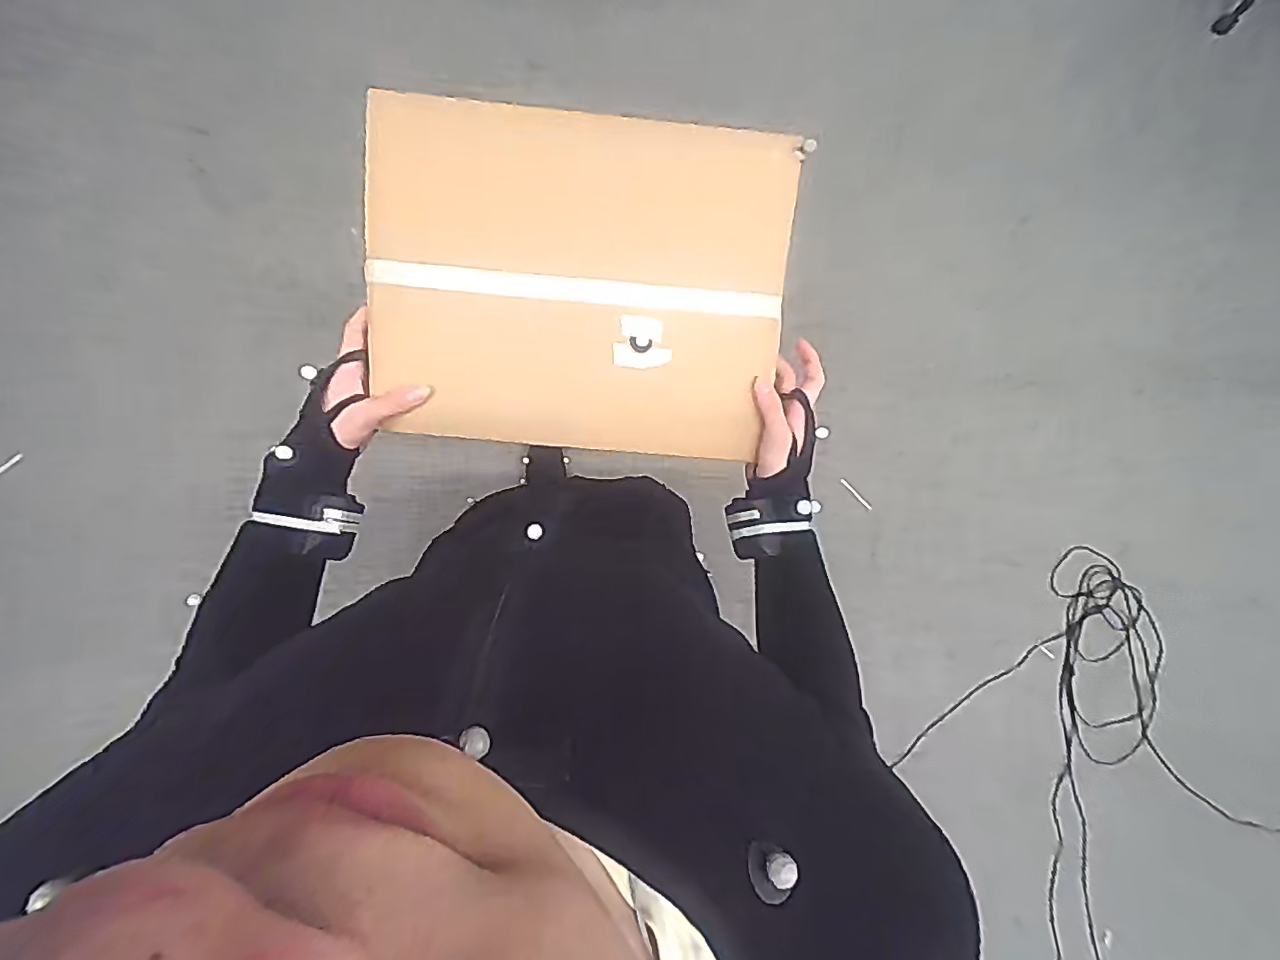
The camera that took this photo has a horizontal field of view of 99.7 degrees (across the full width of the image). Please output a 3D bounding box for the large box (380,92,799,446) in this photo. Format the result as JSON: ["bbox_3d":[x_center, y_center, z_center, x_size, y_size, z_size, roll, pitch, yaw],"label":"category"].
[{"bbox_3d":[-0.061,-0.225,0.682,0.408,0.320,0.320,4,102,-3],"label":"large box"}]
